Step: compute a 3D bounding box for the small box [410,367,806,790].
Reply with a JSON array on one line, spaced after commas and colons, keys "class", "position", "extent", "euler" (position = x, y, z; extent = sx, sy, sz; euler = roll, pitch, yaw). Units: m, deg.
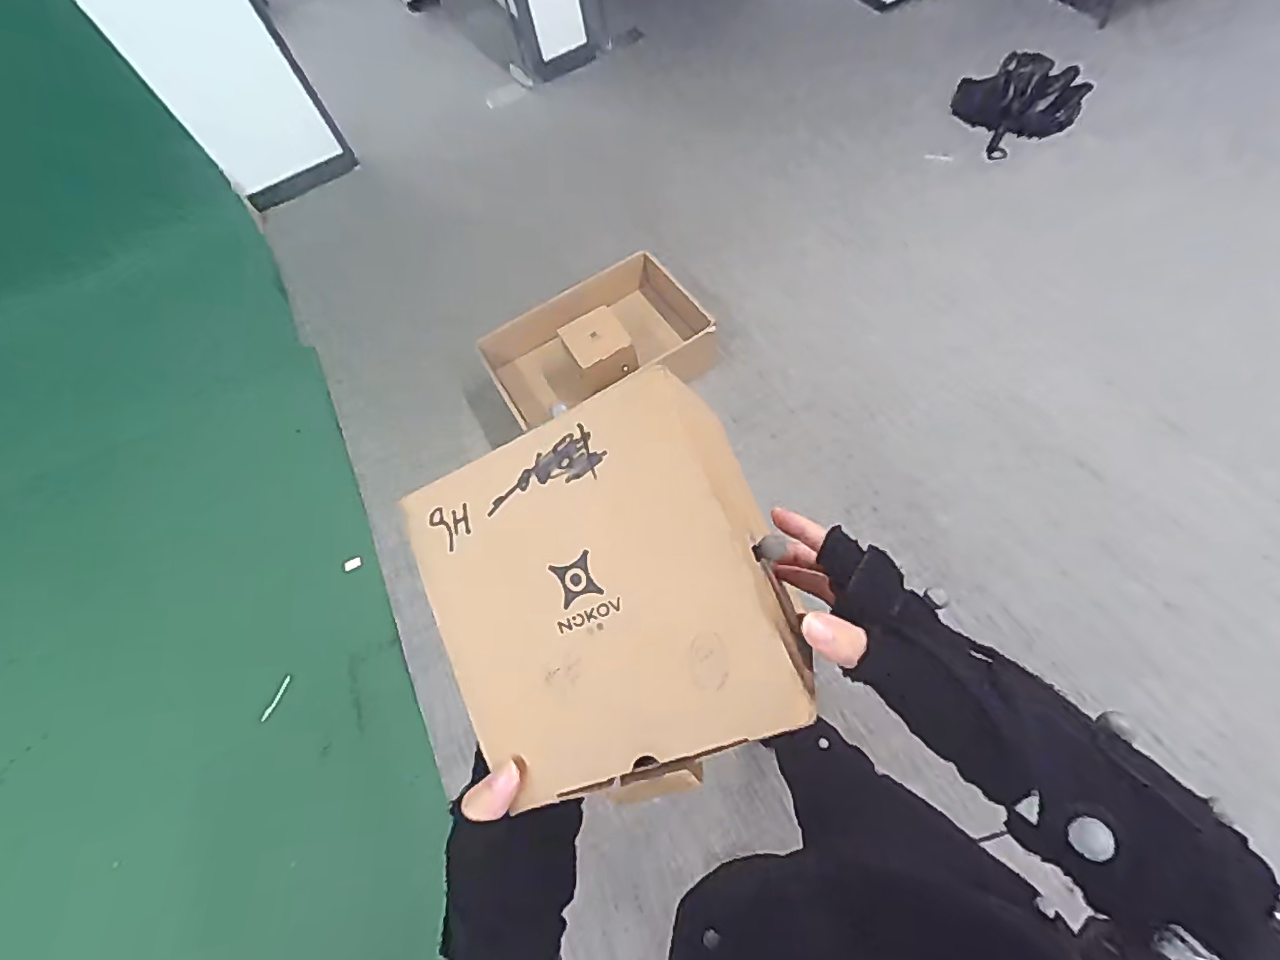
[{"class": "small box", "position": [-0.004, 0.054, 0.349], "extent": [0.168, 0.176, 0.179], "euler": [-25, 82, 14]}]

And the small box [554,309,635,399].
[{"class": "small box", "position": [-0.127, -0.361, 1.597], "extent": [0.168, 0.176, 0.179], "euler": [-30, 62, -8]}]
